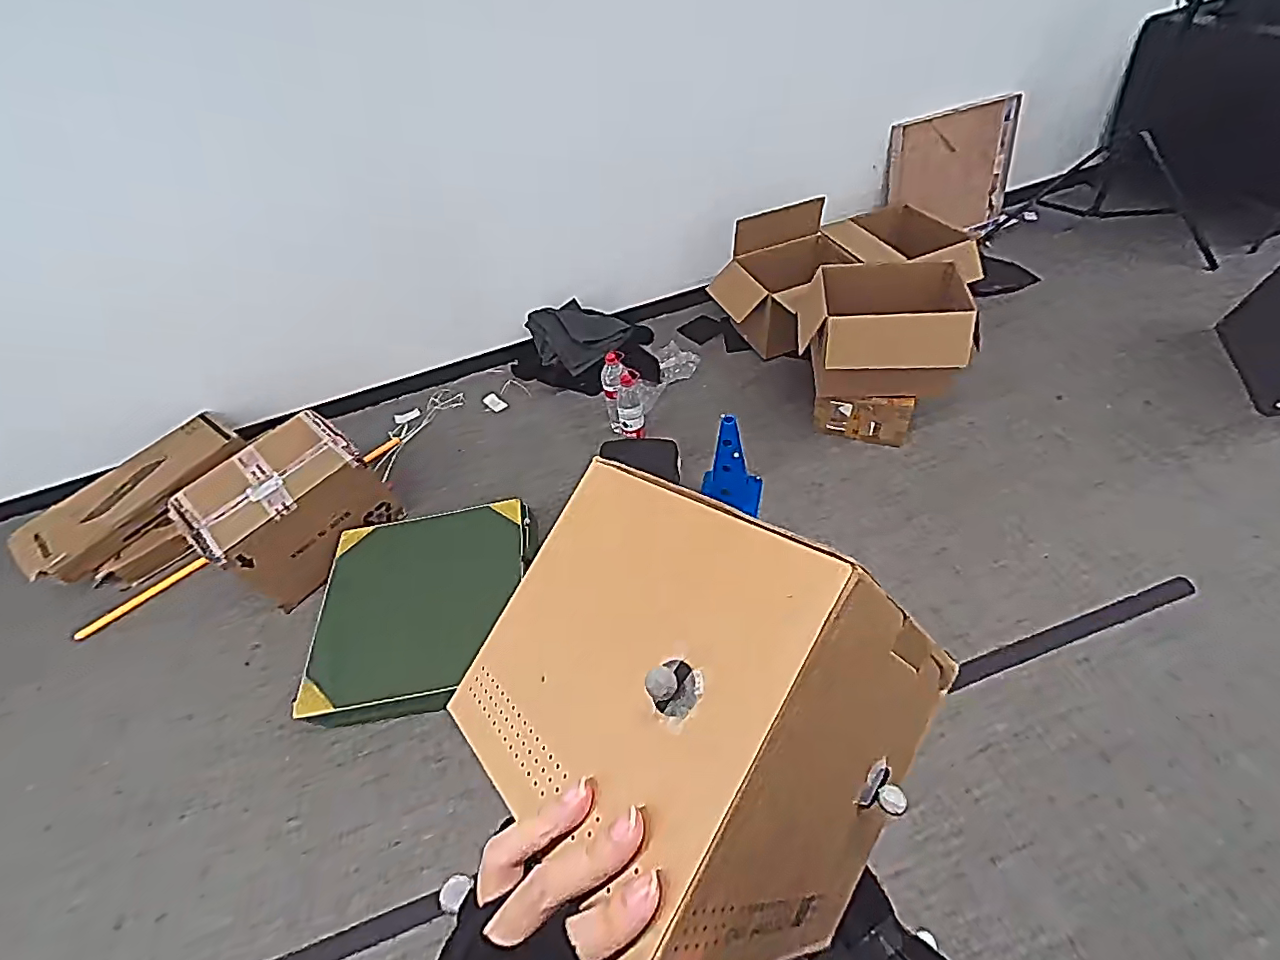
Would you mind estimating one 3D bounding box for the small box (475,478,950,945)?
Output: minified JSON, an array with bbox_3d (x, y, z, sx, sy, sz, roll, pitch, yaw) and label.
[{"bbox_3d":[0.038,0.125,0.316,0.179,0.168,0.176,21,79,50],"label":"small box"}]
